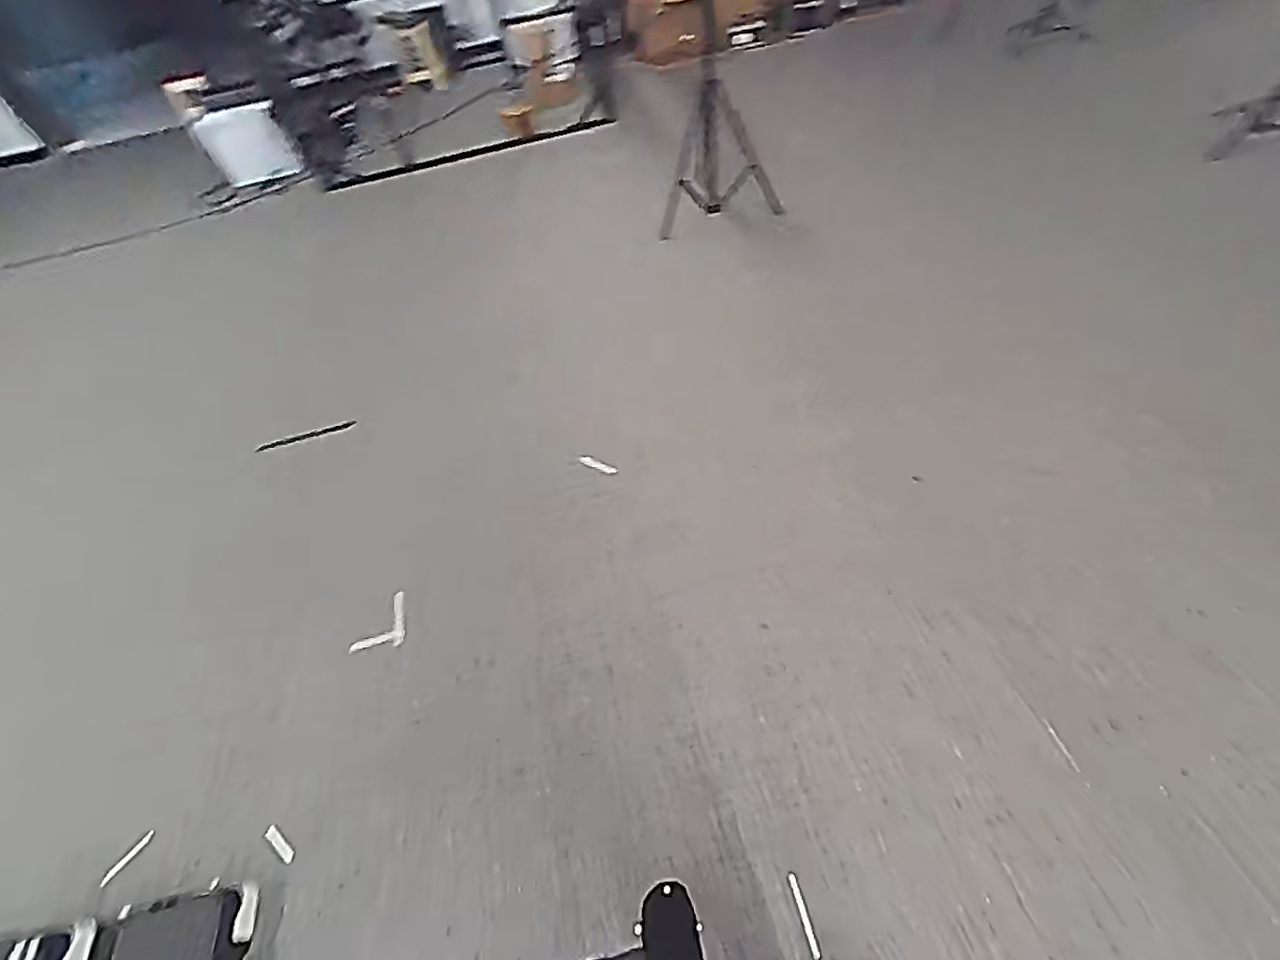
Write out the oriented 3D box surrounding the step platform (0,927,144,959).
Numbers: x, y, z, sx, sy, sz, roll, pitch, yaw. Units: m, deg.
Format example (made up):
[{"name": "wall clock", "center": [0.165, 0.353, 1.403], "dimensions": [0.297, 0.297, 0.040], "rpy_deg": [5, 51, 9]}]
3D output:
[{"name": "step platform", "center": [-1.197, 1.246, 0.961], "dimensions": [0.286, 0.204, 0.684], "rpy_deg": [-15, 51, -3]}]
